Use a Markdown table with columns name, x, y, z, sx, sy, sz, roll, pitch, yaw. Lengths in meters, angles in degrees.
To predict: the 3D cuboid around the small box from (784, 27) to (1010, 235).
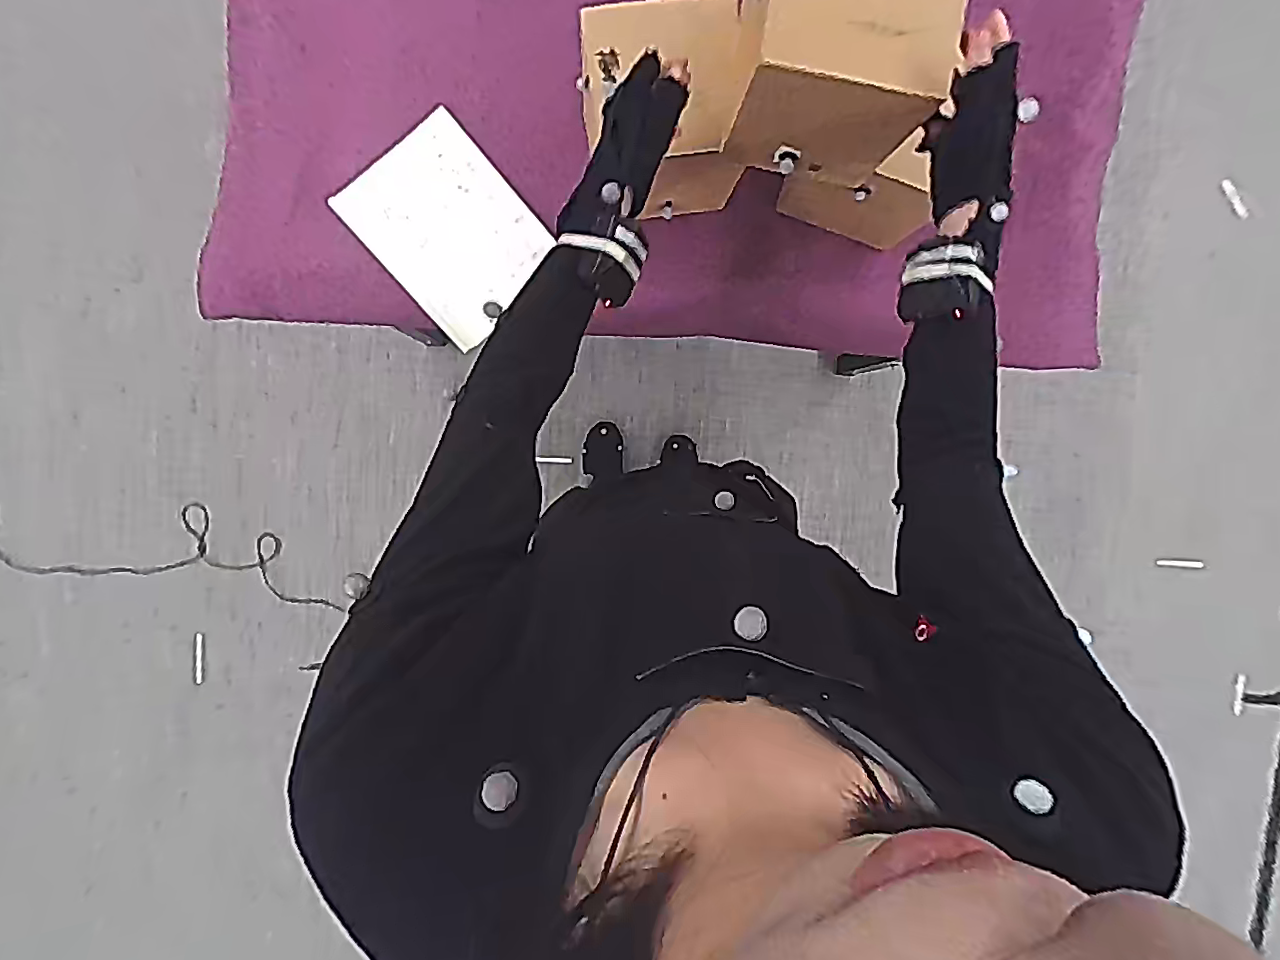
| name | x | y | z | sx | sy | sz | roll | pitch | yaw |
| --- | --- | --- | --- | --- | --- | --- | --- | --- | --- |
| small box | 0.304 | -0.437 | 0.681 | 0.179 | 0.176 | 0.168 | 18 | 93 | -5 |

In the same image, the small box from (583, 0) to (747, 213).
| name | x | y | z | sx | sy | sz | roll | pitch | yaw |
| --- | --- | --- | --- | --- | --- | --- | --- | --- | --- |
| small box | 0.027 | -0.451 | 0.662 | 0.179 | 0.176 | 0.168 | -9 | 94 | -4 |

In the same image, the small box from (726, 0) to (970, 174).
| name | x | y | z | sx | sy | sz | roll | pitch | yaw |
| --- | --- | --- | --- | --- | --- | --- | --- | --- | --- |
| small box | 0.185 | -0.430 | 0.511 | 0.168 | 0.176 | 0.179 | 8 | 94 | -3 |
